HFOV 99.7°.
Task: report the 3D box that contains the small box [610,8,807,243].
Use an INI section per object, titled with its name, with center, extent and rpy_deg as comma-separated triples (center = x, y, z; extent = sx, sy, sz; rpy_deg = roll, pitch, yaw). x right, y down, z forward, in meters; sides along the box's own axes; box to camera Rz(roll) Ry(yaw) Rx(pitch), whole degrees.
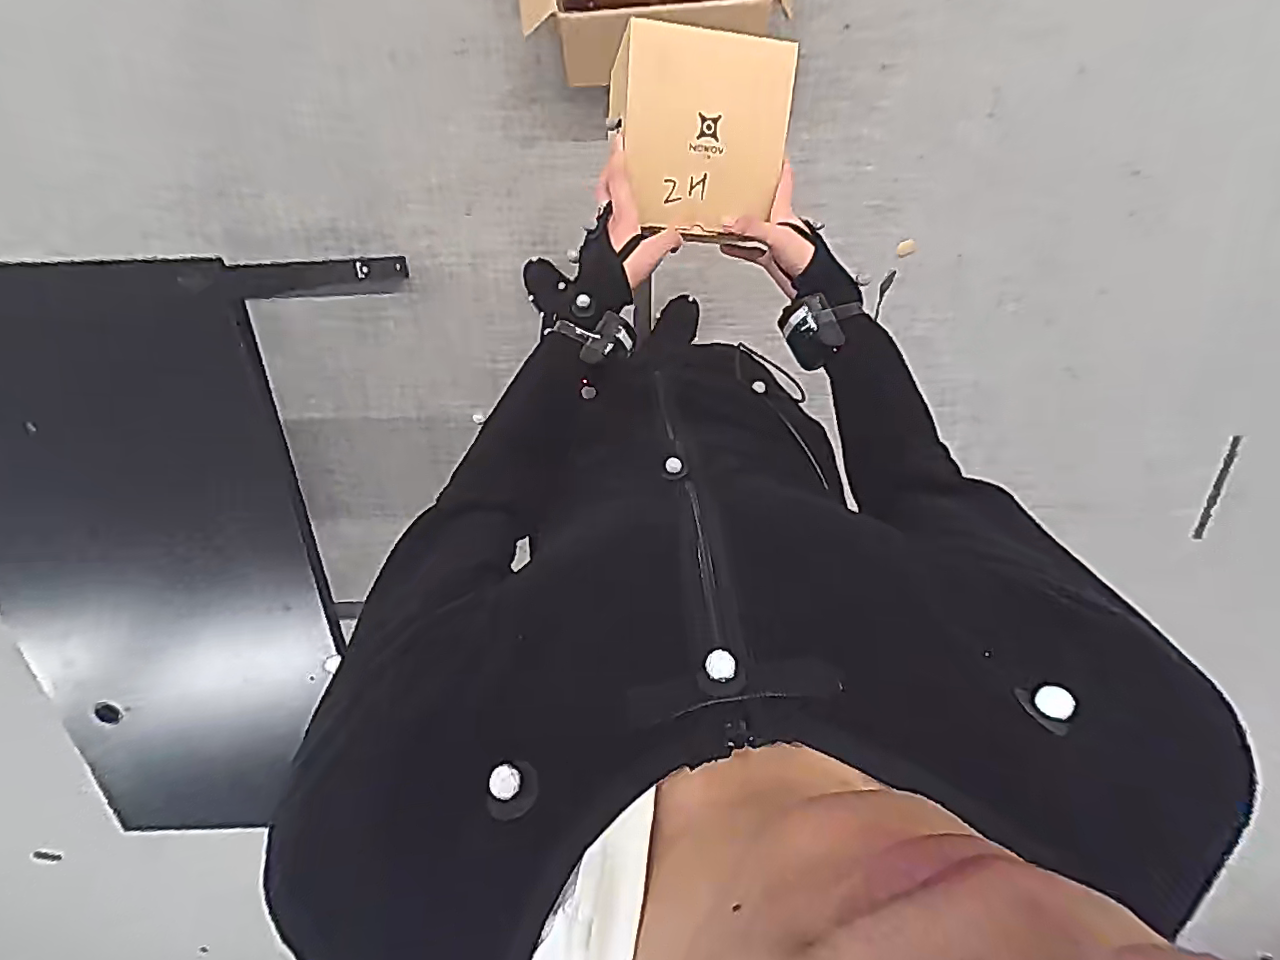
[small box]
center = 0.059, -0.368, 0.598
extent = 0.168, 0.176, 0.179
rpy_deg = 1, 112, -10
